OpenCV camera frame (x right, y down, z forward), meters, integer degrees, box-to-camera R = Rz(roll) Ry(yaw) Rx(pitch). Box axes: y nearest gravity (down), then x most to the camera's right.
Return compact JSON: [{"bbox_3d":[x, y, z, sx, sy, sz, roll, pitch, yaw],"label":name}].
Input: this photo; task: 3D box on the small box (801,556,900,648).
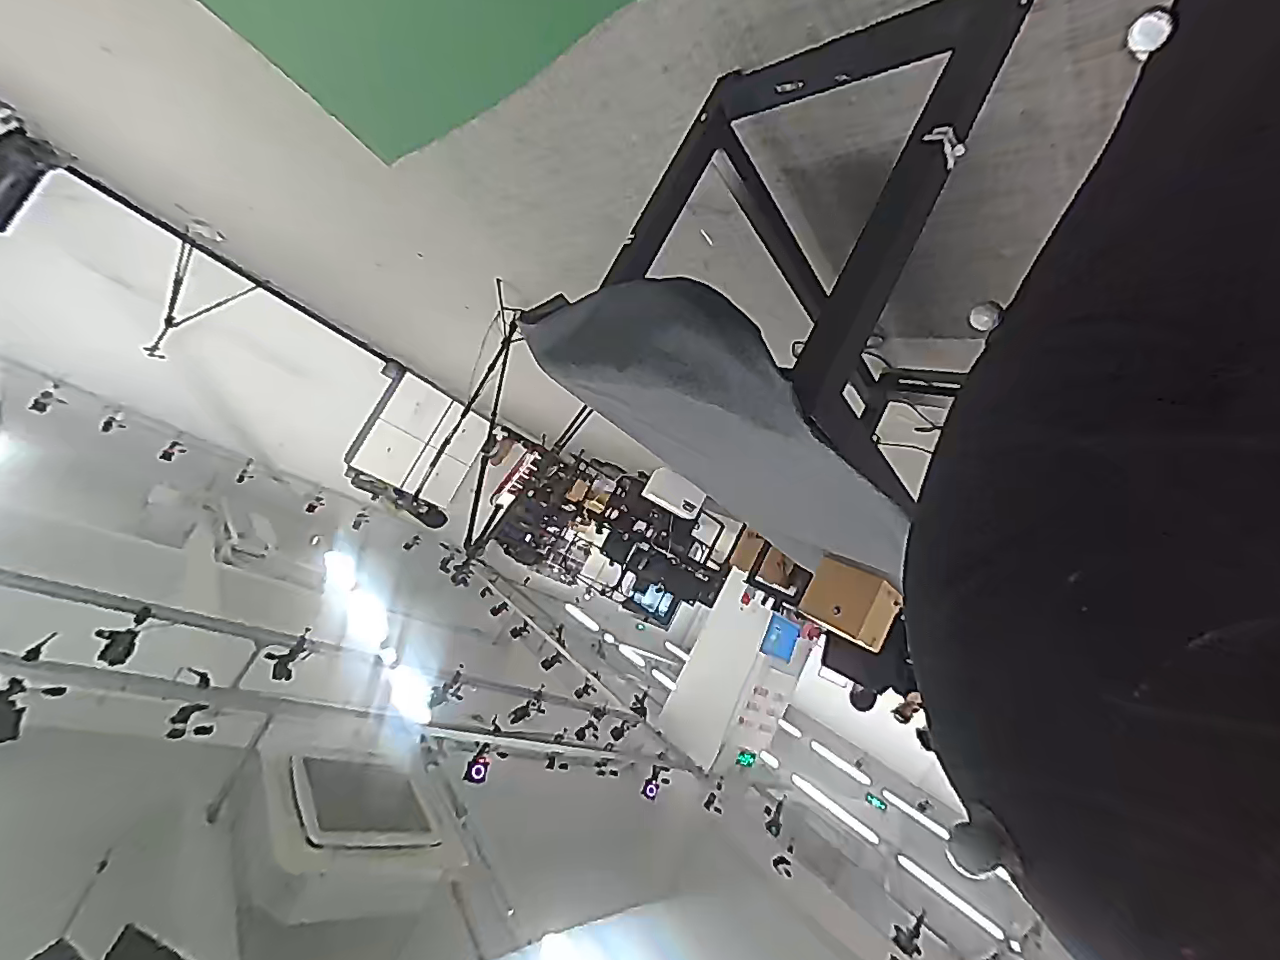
[{"bbox_3d":[0.570,0.322,1.448,0.179,0.176,0.168,21,170,48],"label":"small box"}]
